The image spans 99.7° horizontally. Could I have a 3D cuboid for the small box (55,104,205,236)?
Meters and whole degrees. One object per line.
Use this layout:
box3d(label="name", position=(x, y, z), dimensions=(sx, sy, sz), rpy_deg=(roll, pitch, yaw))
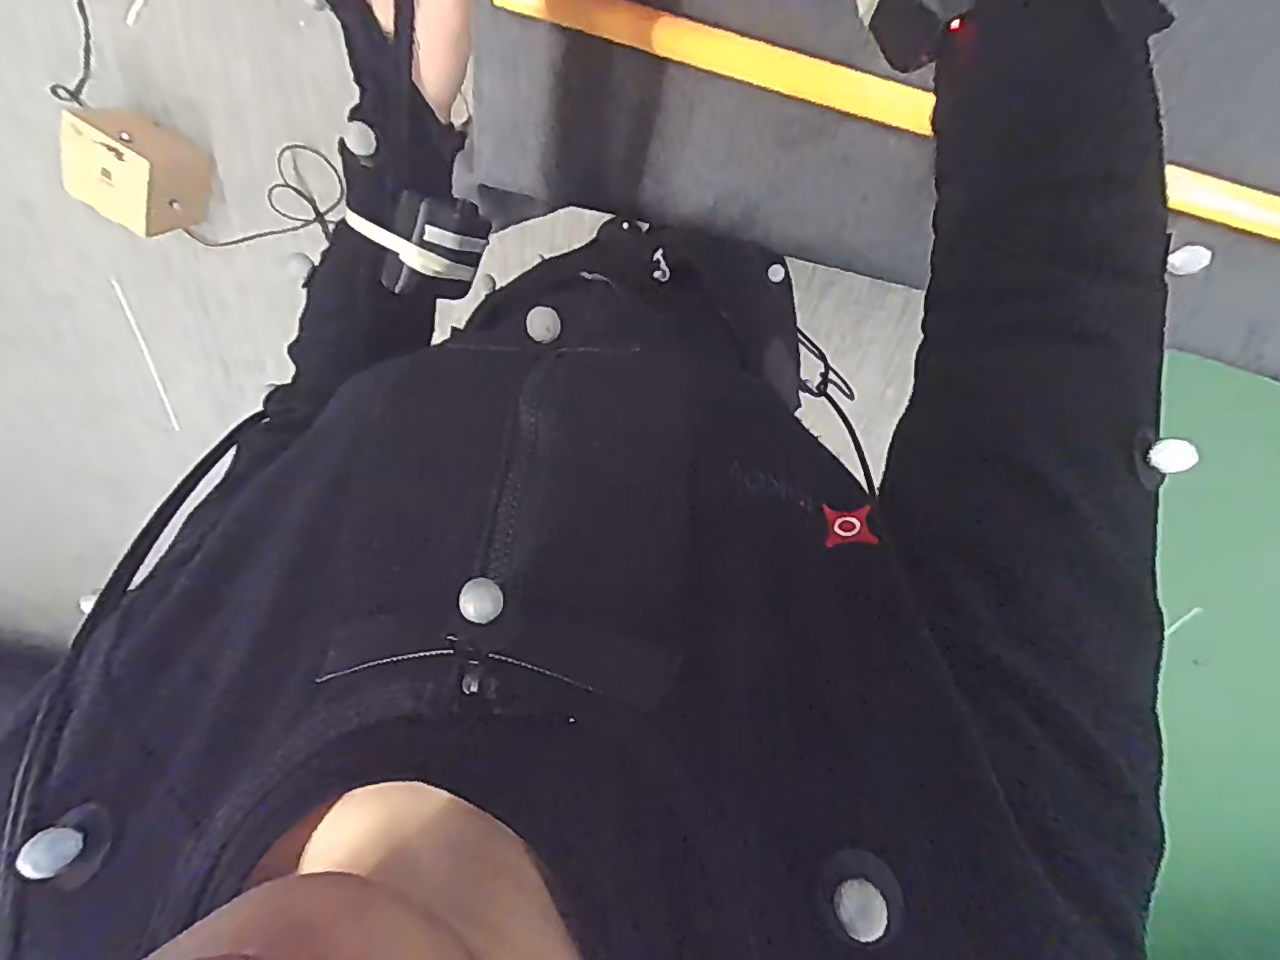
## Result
box3d(label="small box", position=(-1.074, -0.662, 1.151), dimensions=(0.168, 0.176, 0.179), rpy_deg=(31, 125, -14))
